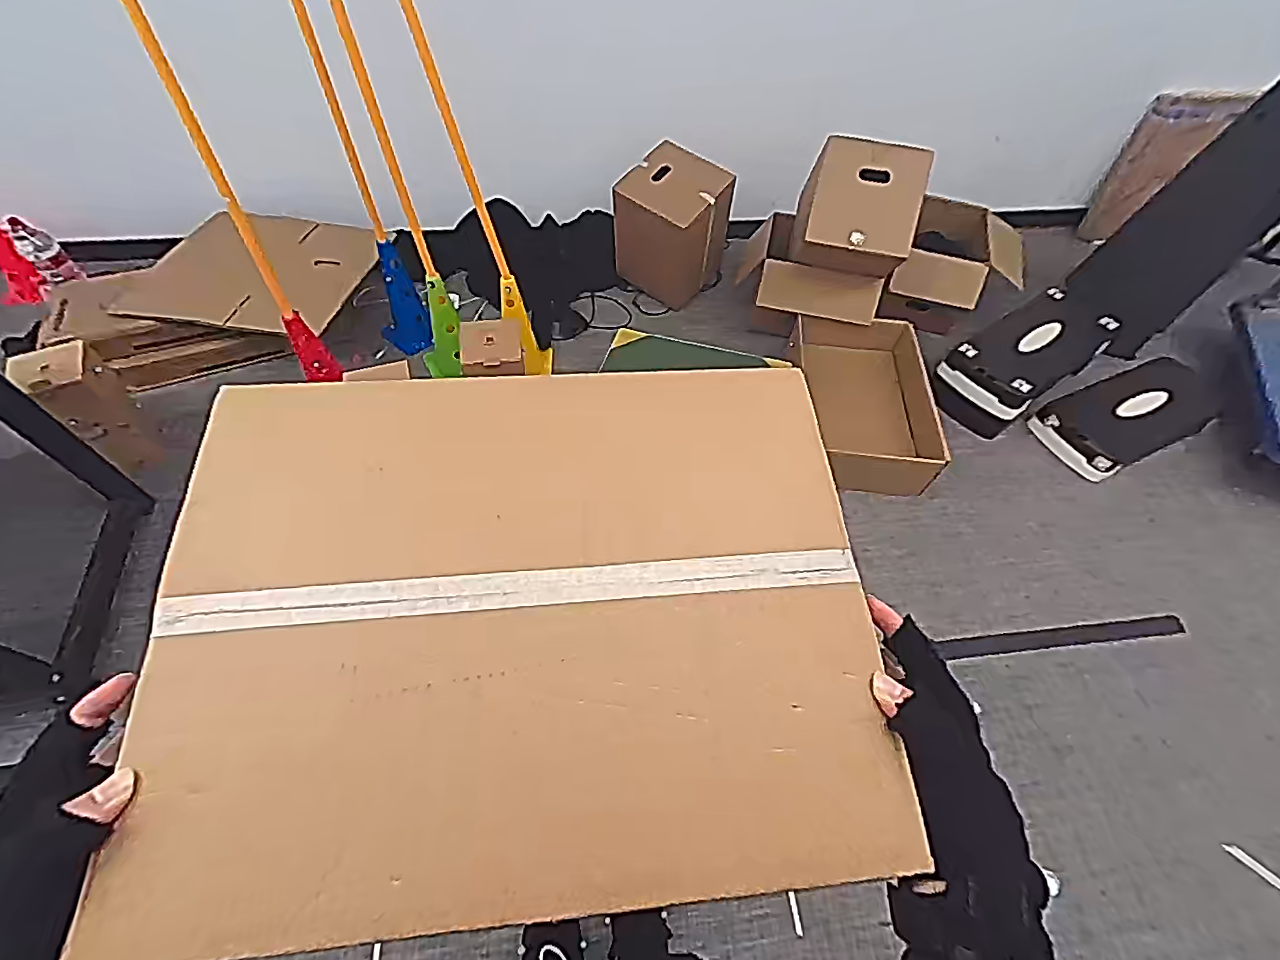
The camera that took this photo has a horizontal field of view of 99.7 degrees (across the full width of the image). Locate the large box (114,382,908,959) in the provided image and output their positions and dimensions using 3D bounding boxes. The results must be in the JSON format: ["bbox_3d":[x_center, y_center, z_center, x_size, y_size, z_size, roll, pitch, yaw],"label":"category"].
[{"bbox_3d":[-0.075,0.138,0.467,0.408,0.320,0.320,-3,65,-6],"label":"large box"}]
